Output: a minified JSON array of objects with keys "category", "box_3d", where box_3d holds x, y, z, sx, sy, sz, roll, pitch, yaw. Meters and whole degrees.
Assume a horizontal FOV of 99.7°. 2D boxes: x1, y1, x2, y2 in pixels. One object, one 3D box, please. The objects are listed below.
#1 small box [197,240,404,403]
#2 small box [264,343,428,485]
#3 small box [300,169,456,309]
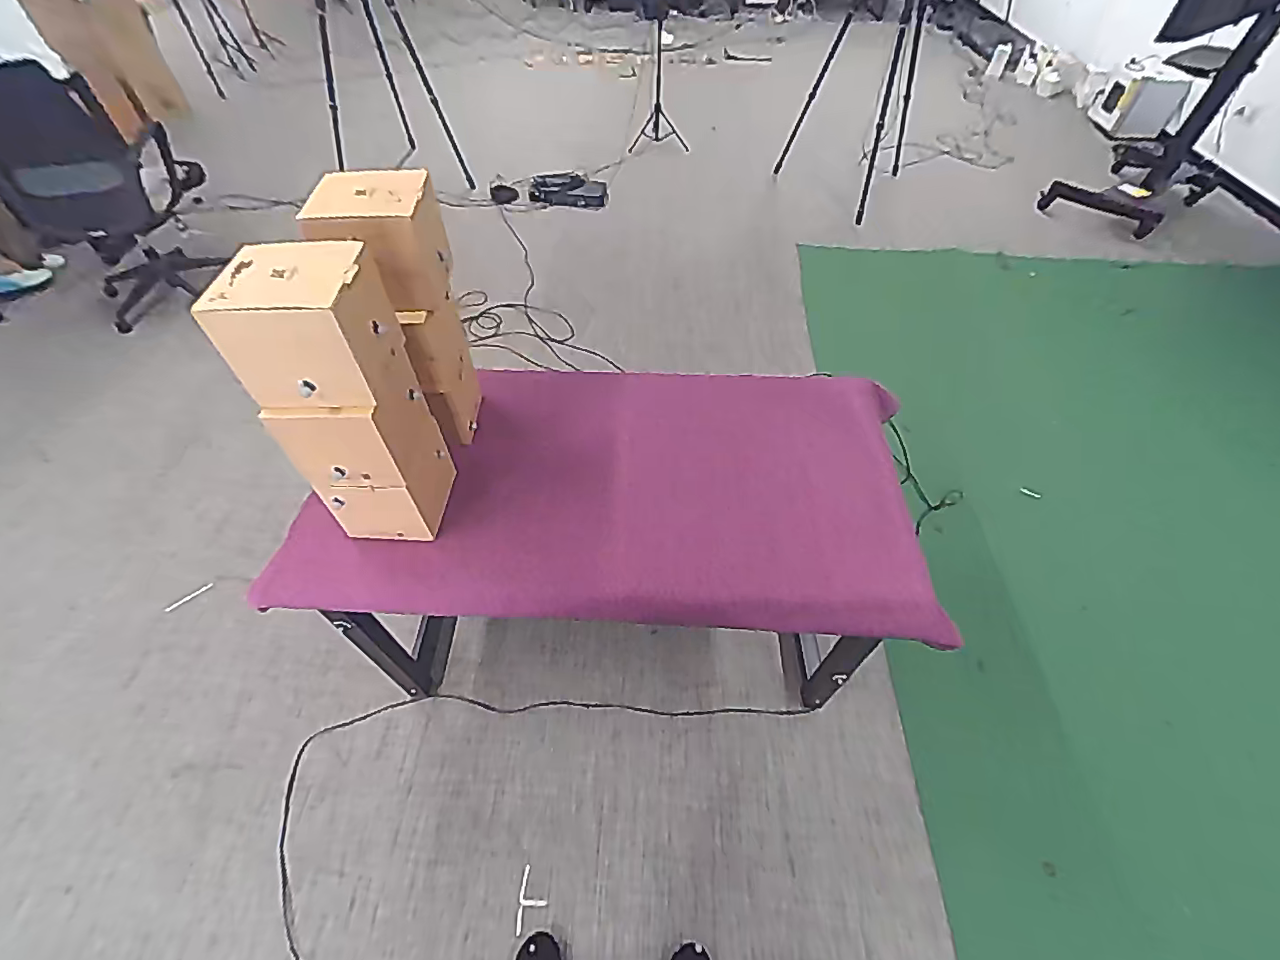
[{"category":"small box","box_3d":[-0.468,-0.225,0.784,0.179,0.176,0.168,-1,51,-2]},{"category":"small box","box_3d":[-0.471,-0.113,0.903,0.168,0.176,0.179,0,51,0]},{"category":"small box","box_3d":[-0.436,-0.412,0.933,0.179,0.176,0.168,-2,52,-3]}]
